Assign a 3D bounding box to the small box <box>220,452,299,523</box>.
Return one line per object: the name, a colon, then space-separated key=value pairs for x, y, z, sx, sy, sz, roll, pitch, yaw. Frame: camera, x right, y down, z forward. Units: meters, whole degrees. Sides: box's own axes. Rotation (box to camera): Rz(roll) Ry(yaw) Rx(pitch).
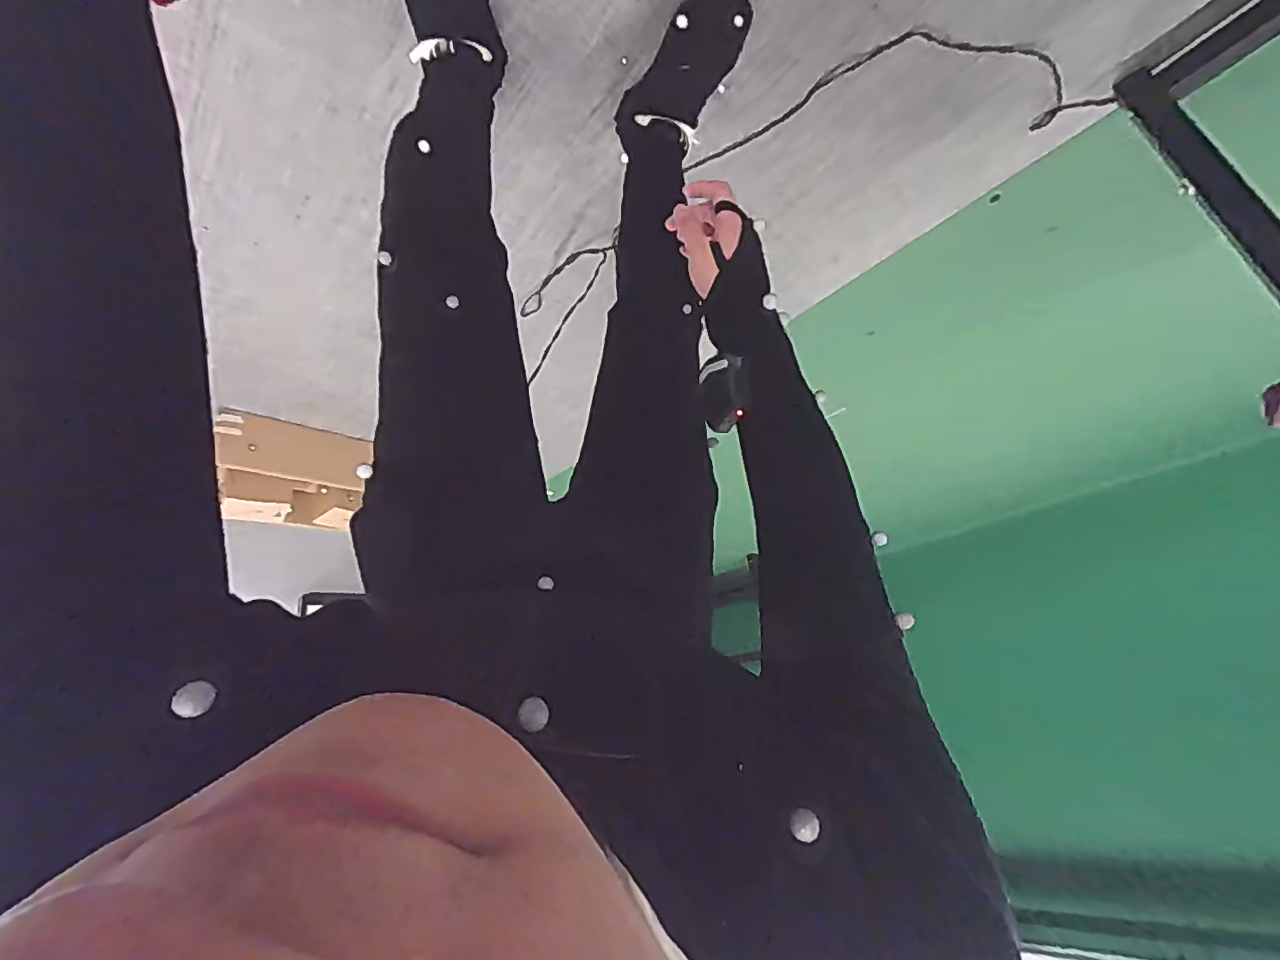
small box: x=-1.231 y=0.024 z=1.753 sx=0.179 sy=0.176 sz=0.168 roll=11 pitch=148 yaw=-39
